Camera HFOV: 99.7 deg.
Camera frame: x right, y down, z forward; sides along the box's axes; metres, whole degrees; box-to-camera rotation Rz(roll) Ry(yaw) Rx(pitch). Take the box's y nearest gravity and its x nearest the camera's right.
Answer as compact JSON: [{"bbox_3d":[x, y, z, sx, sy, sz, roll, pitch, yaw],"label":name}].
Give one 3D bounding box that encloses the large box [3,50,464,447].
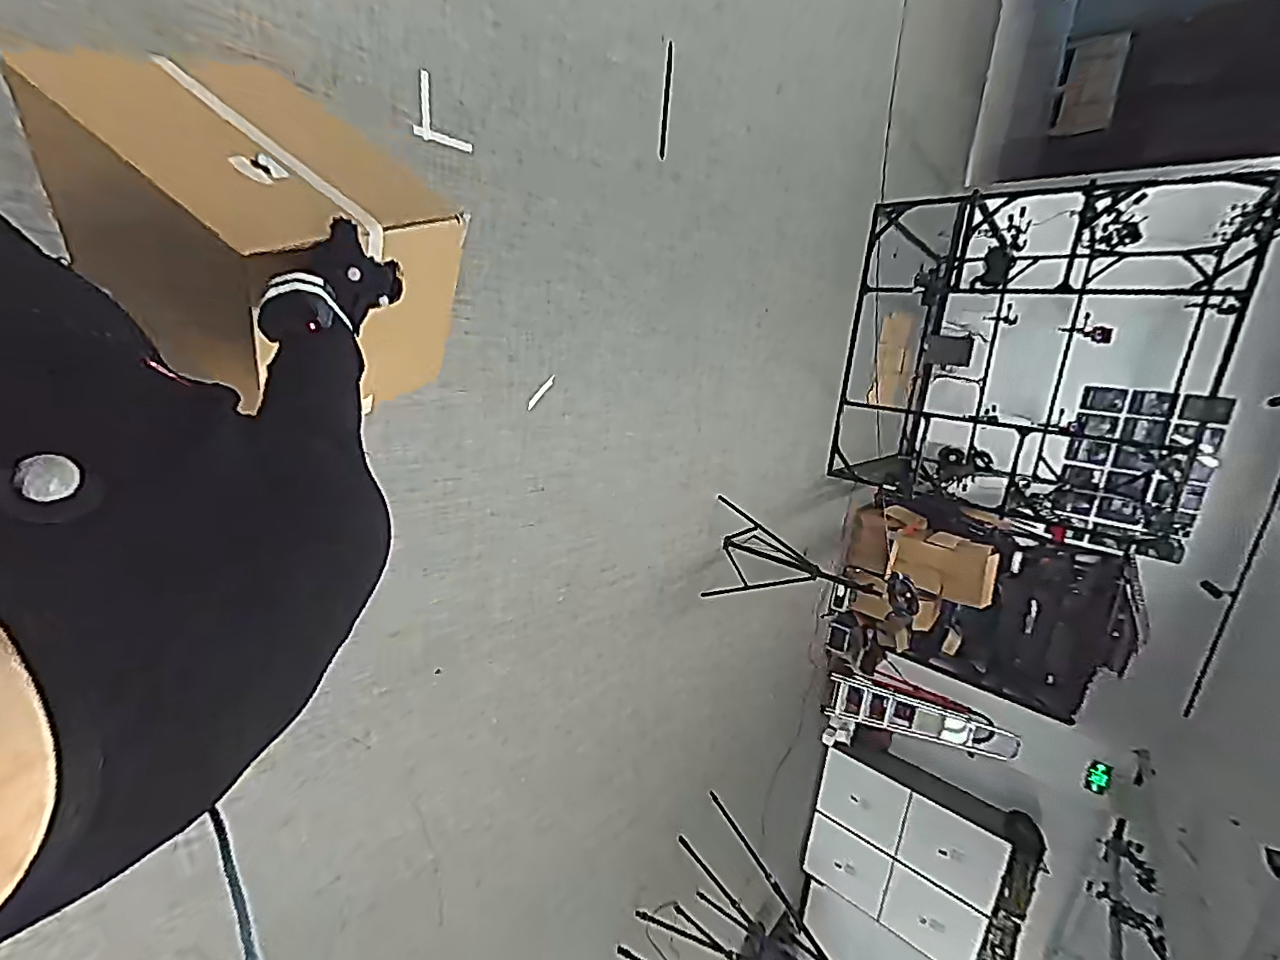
[{"bbox_3d":[-0.539,-0.325,0.781,0.320,0.408,0.320,-44,170,-47],"label":"large box"}]
